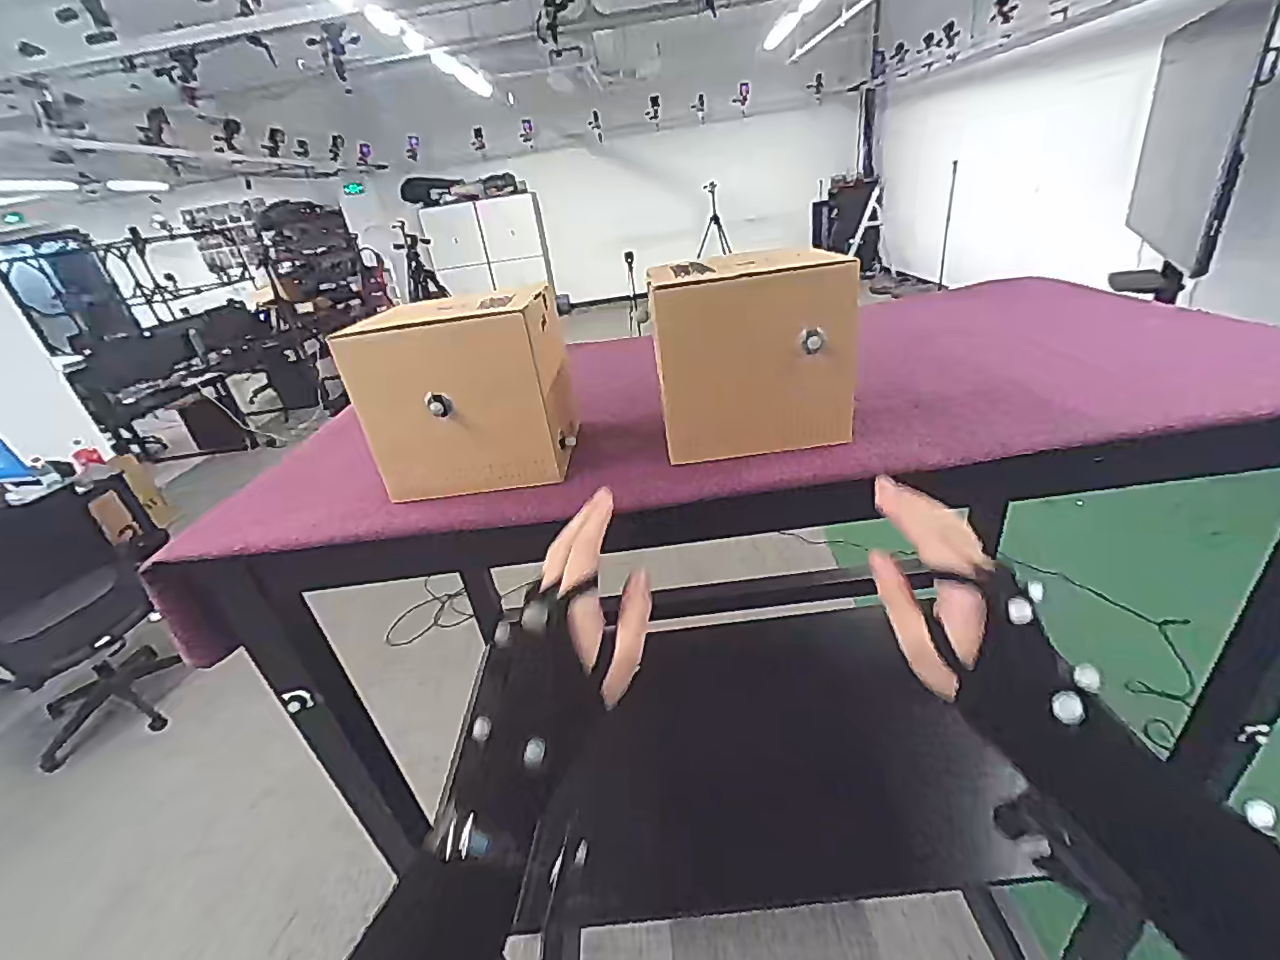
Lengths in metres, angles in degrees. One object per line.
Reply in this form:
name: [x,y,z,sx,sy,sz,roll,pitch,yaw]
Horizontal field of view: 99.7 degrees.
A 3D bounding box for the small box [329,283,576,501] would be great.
small box: [-0.170,-0.095,0.563,0.179,0.176,0.168,-8,27,4]
